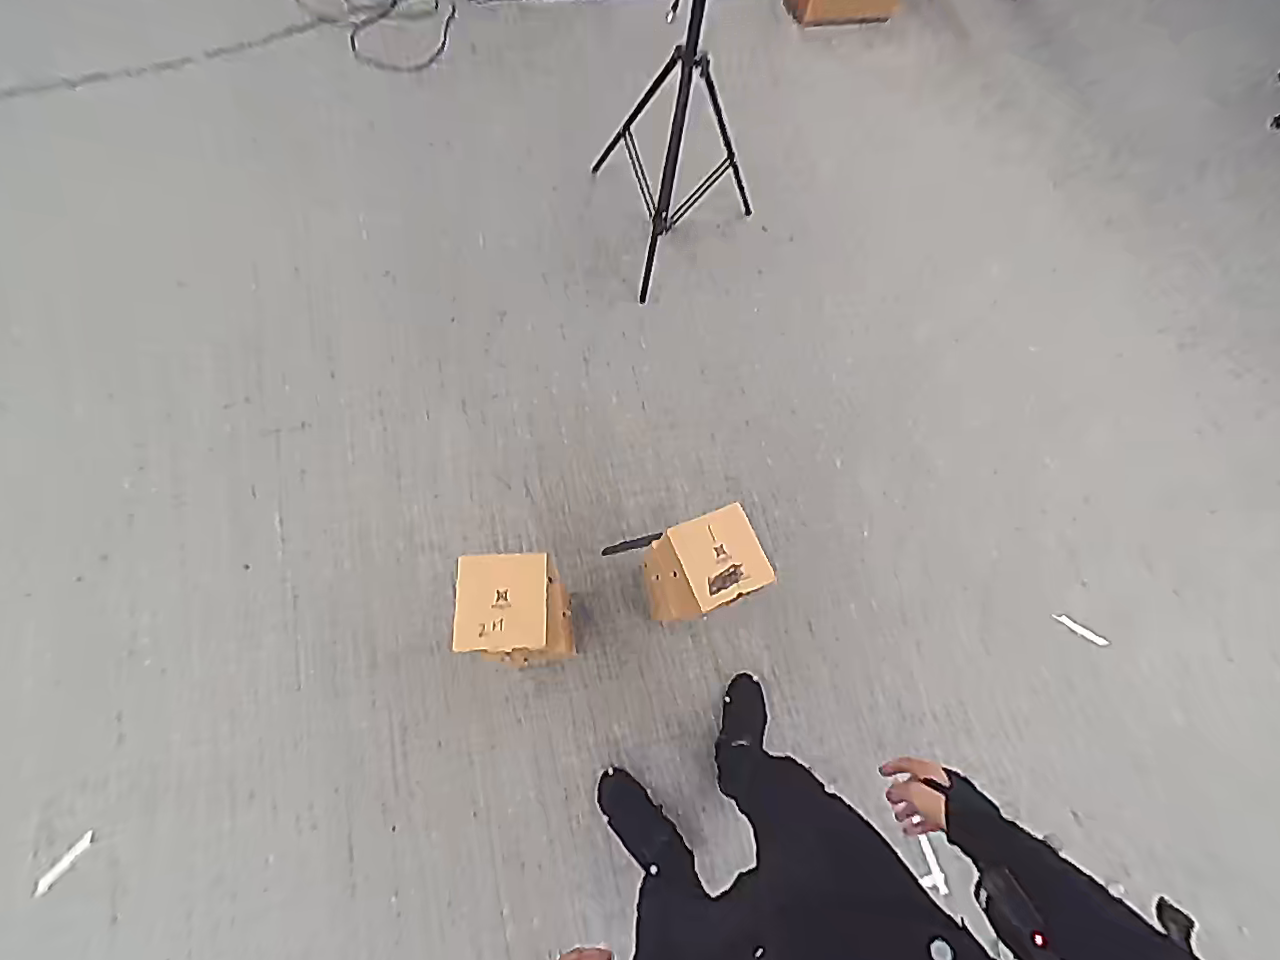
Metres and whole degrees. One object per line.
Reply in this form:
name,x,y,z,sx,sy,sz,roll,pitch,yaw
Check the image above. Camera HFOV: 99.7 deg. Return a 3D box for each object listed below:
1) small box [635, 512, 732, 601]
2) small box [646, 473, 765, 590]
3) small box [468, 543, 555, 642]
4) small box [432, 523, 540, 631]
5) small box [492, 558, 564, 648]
small box,0.092,0.165,1.245,0.168,0.176,0.179,-13,71,-10
small box,0.123,0.112,1.090,0.168,0.176,0.179,-20,74,-13
small box,-0.278,0.249,1.179,0.168,0.176,0.179,-7,71,-7
small box,-0.282,0.188,1.025,0.168,0.176,0.179,-1,71,-5
small box,-0.281,0.305,1.330,0.168,0.176,0.179,-10,71,-9
